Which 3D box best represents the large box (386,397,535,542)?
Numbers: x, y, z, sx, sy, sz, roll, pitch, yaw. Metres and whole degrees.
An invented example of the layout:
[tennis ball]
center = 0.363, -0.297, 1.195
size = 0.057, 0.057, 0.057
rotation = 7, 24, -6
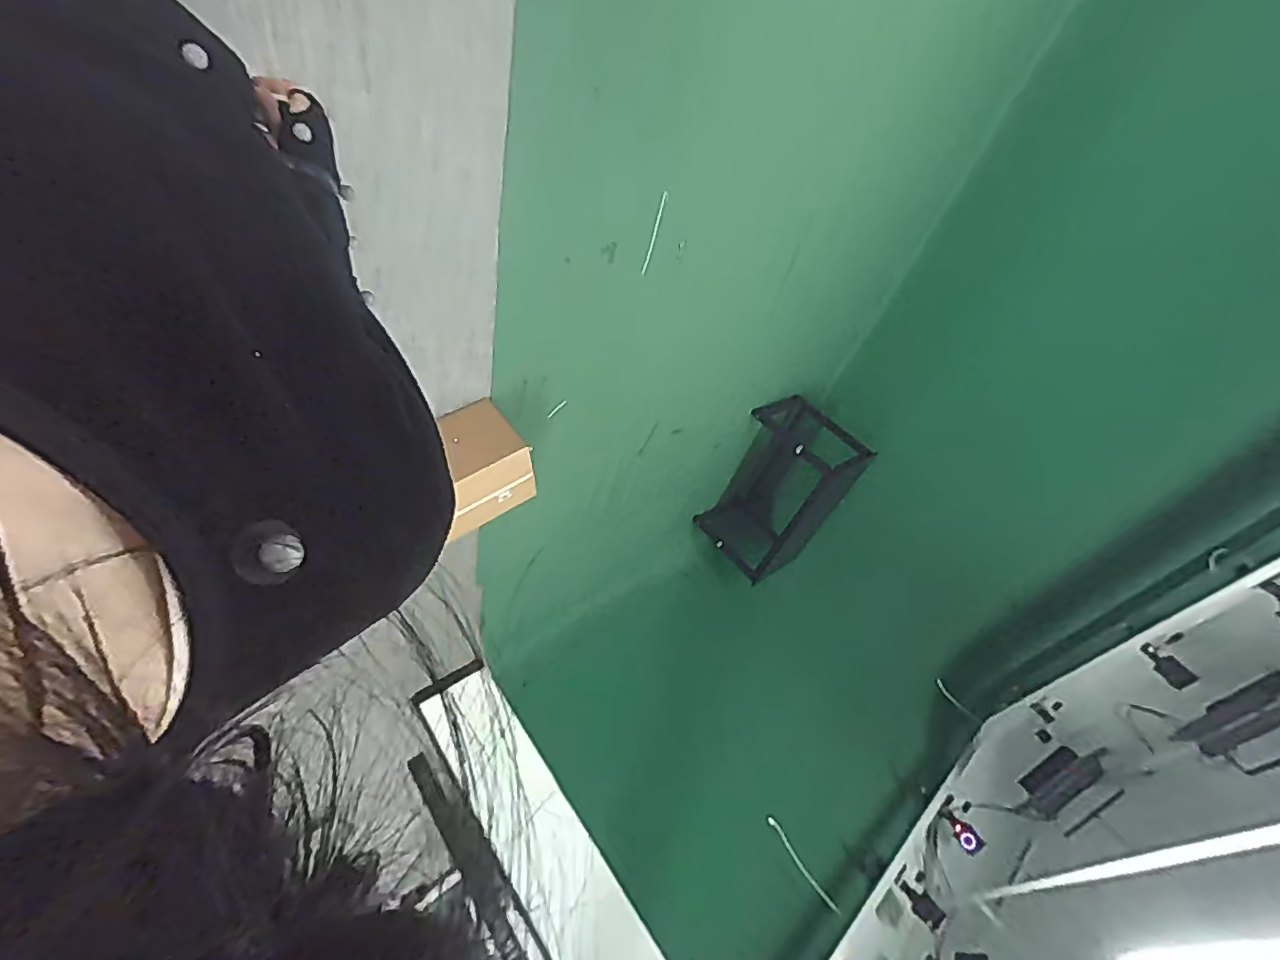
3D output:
[large box]
center = -0.663, -0.045, 2.045
size = 0.408, 0.320, 0.320
rotation = -32, 153, -24
